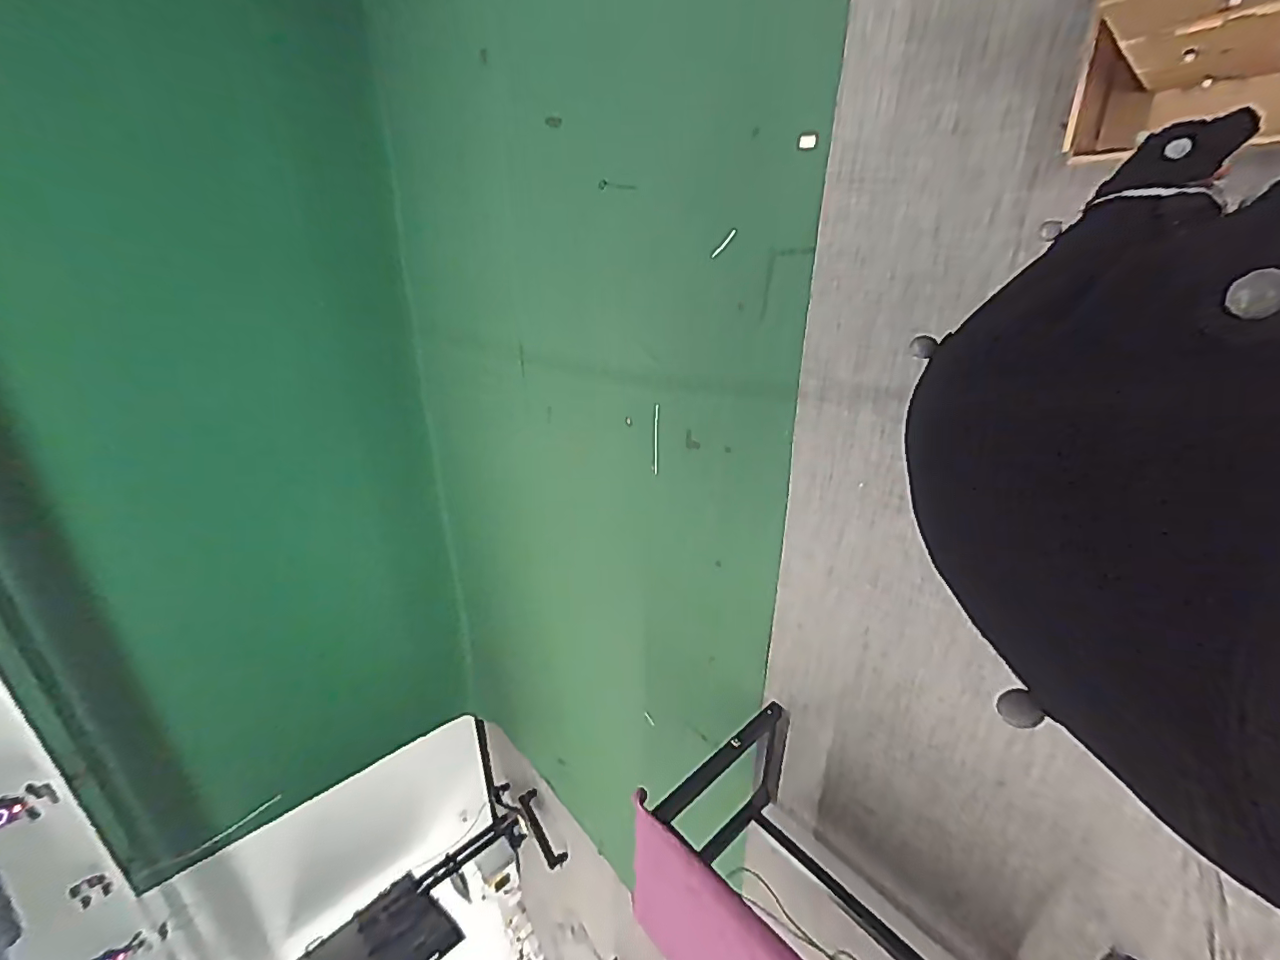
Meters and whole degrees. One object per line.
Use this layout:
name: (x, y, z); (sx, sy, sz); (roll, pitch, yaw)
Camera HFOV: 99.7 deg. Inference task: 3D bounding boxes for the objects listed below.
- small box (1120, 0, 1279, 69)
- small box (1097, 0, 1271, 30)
small box: (0.782, -0.688, 0.721); (0.168, 0.176, 0.179); (21, 121, 42)
small box: (0.662, -0.652, 0.616); (0.168, 0.176, 0.179); (19, 119, 43)
